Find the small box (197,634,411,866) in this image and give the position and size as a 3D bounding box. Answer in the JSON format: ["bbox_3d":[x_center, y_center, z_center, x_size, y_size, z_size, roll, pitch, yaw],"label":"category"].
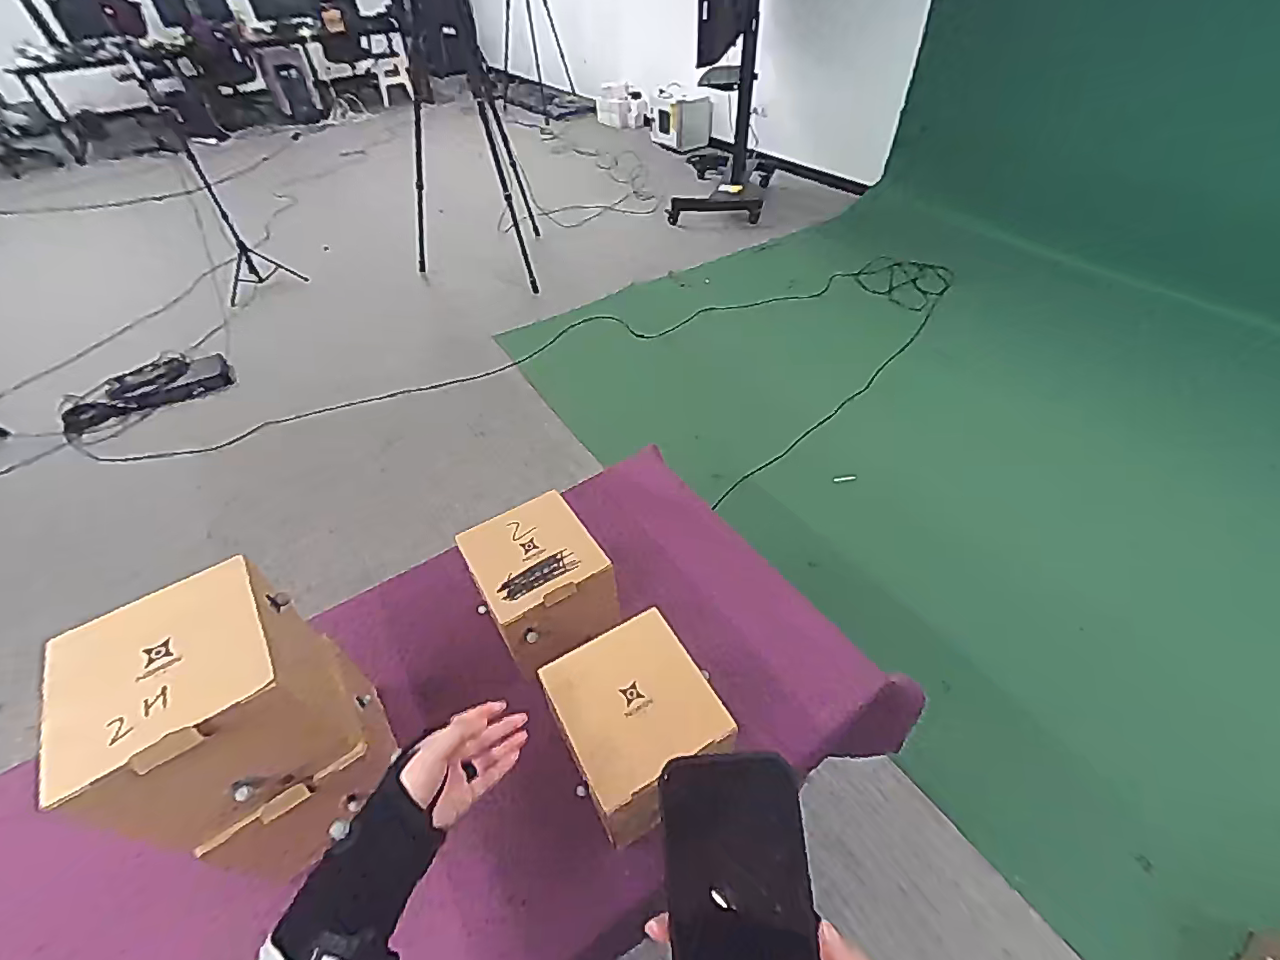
[{"bbox_3d":[-0.406,0.331,0.659,0.168,0.176,0.179,-28,51,-23],"label":"small box"}]

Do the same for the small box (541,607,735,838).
[{"bbox_3d":[-0.005,0.299,0.669,0.168,0.176,0.179,-24,50,-19],"label":"small box"}]

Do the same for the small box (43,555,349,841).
[{"bbox_3d":[-0.426,0.216,0.542,0.168,0.176,0.179,-29,51,-23],"label":"small box"}]
